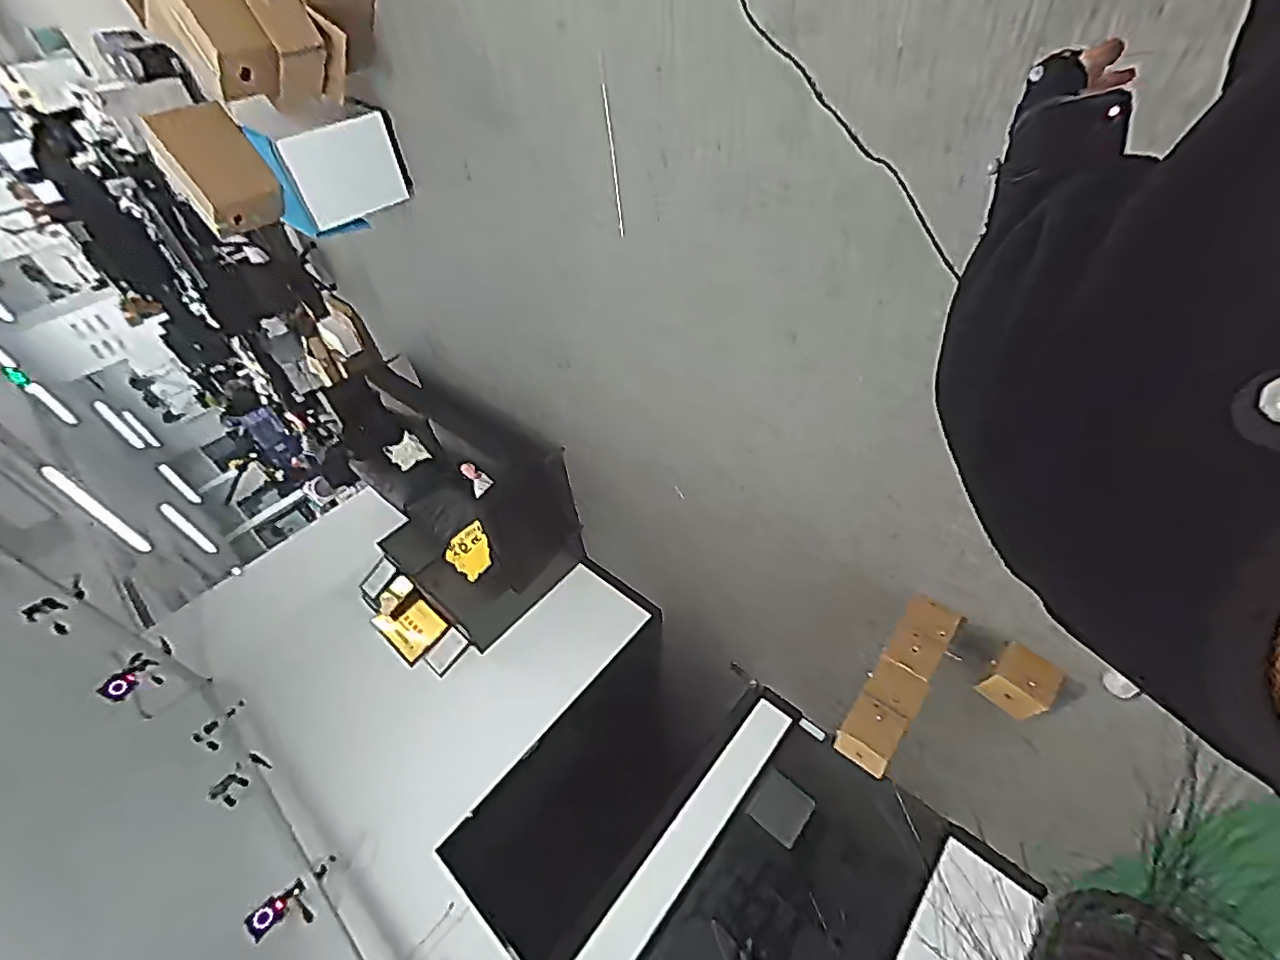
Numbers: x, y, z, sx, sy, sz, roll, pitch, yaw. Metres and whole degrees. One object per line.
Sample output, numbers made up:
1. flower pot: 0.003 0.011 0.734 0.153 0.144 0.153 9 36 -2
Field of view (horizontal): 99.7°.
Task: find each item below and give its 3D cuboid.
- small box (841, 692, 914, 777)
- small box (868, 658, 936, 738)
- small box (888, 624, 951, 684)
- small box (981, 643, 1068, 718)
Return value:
1. small box: 0.814 0.871 1.856 0.168 0.176 0.179 28 146 33
2. small box: 0.924 0.775 1.932 0.179 0.176 0.168 29 147 32
3. small box: 1.026 0.670 2.010 0.168 0.176 0.179 29 146 33
4. small box: 1.368 0.705 1.923 0.179 0.176 0.168 36 149 20
